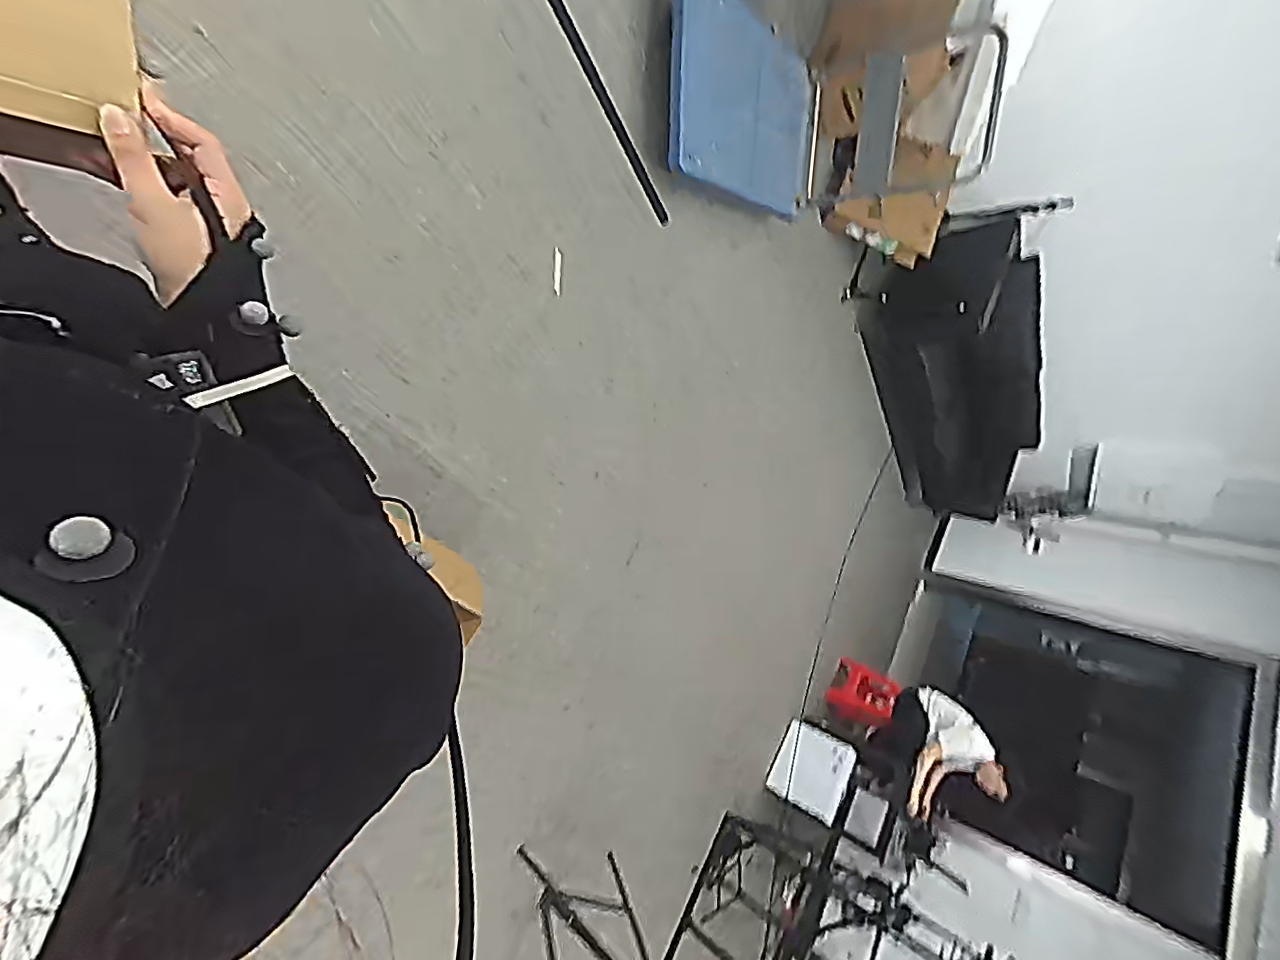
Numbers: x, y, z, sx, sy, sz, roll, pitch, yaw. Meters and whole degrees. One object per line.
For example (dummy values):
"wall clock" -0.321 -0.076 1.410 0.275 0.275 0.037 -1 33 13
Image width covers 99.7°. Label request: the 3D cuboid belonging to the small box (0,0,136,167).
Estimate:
"small box" -0.406 -0.294 0.300 0.179 0.176 0.168 -7 110 -42
